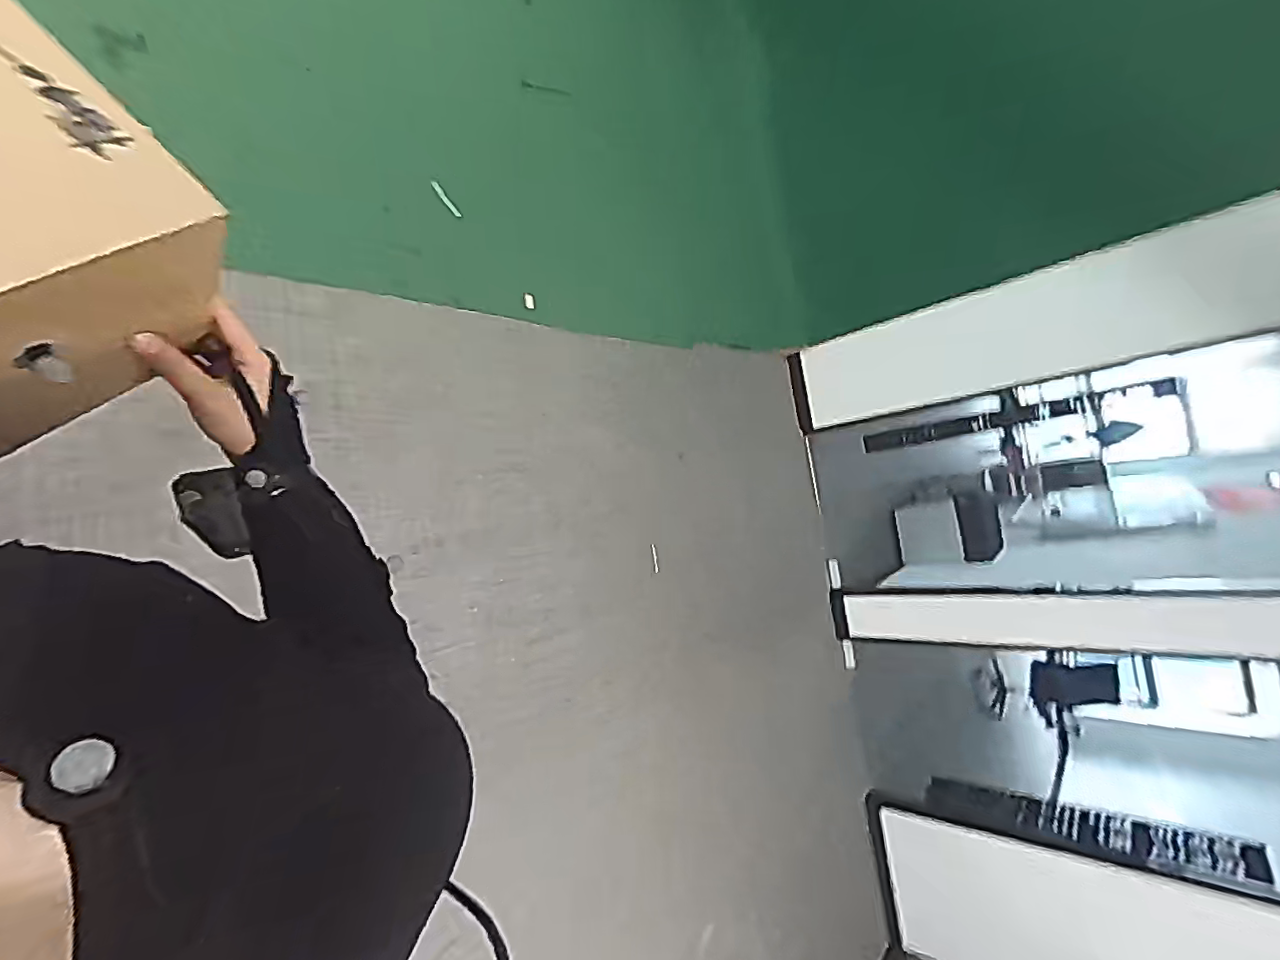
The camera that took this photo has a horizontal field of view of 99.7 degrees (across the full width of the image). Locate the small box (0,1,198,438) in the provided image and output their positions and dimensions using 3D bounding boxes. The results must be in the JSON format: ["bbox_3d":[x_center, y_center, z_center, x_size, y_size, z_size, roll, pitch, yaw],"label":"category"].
[{"bbox_3d":[-0.378,-0.131,0.279,0.168,0.176,0.179,48,49,-18],"label":"small box"}]
